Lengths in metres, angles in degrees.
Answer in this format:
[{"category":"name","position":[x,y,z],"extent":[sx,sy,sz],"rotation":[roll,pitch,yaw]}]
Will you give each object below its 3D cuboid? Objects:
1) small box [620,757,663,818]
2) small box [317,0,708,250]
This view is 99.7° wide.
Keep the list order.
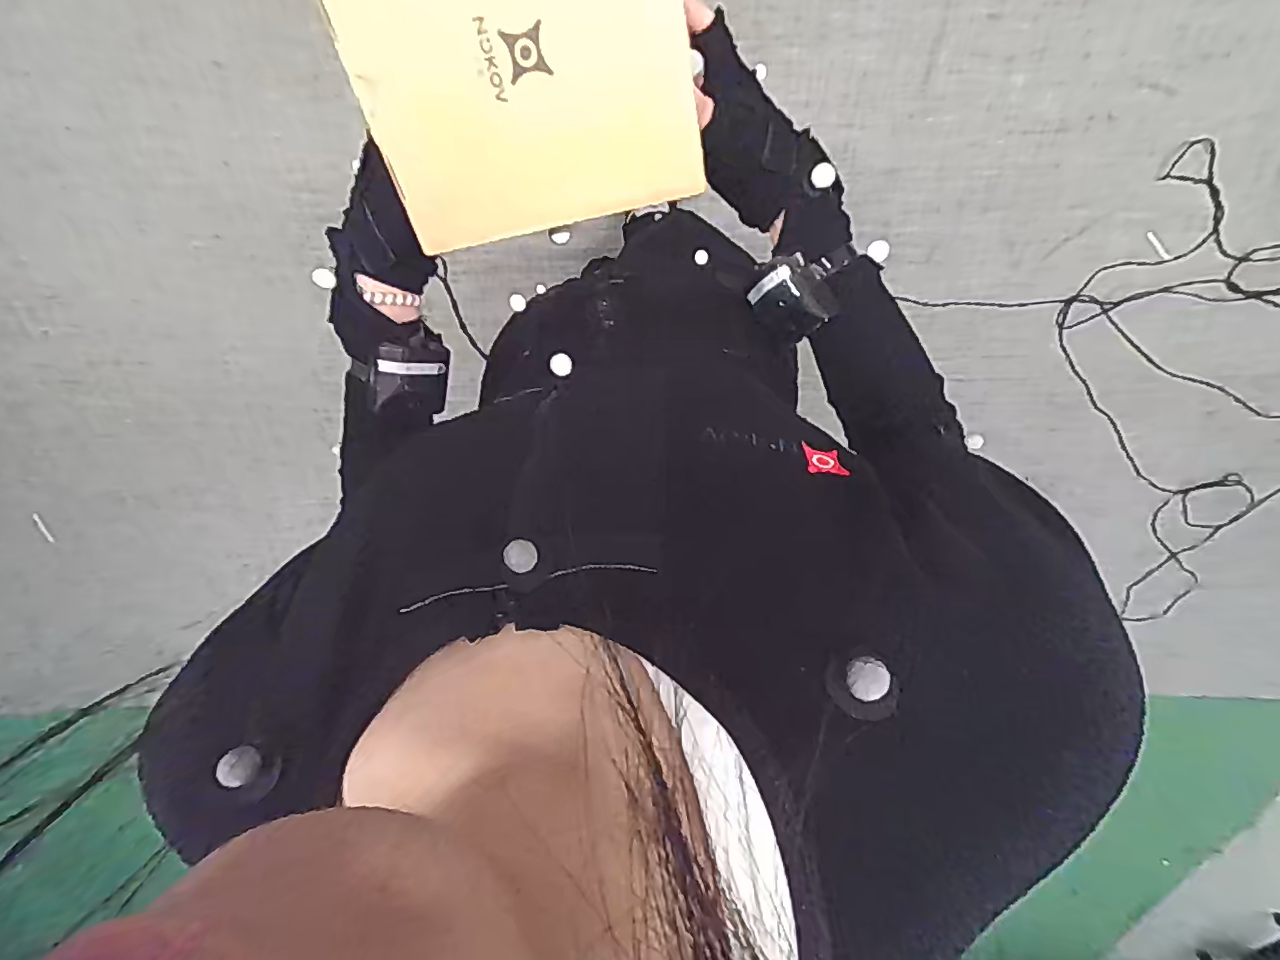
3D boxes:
[{"category":"small box","position":[0.006,1.318,2.319],"extent":[0.179,0.176,0.168],"rotation":[-4,121,0]},{"category":"small box","position":[-0.064,-0.263,0.331],"extent":[0.179,0.176,0.168],"rotation":[-10,126,6]}]
